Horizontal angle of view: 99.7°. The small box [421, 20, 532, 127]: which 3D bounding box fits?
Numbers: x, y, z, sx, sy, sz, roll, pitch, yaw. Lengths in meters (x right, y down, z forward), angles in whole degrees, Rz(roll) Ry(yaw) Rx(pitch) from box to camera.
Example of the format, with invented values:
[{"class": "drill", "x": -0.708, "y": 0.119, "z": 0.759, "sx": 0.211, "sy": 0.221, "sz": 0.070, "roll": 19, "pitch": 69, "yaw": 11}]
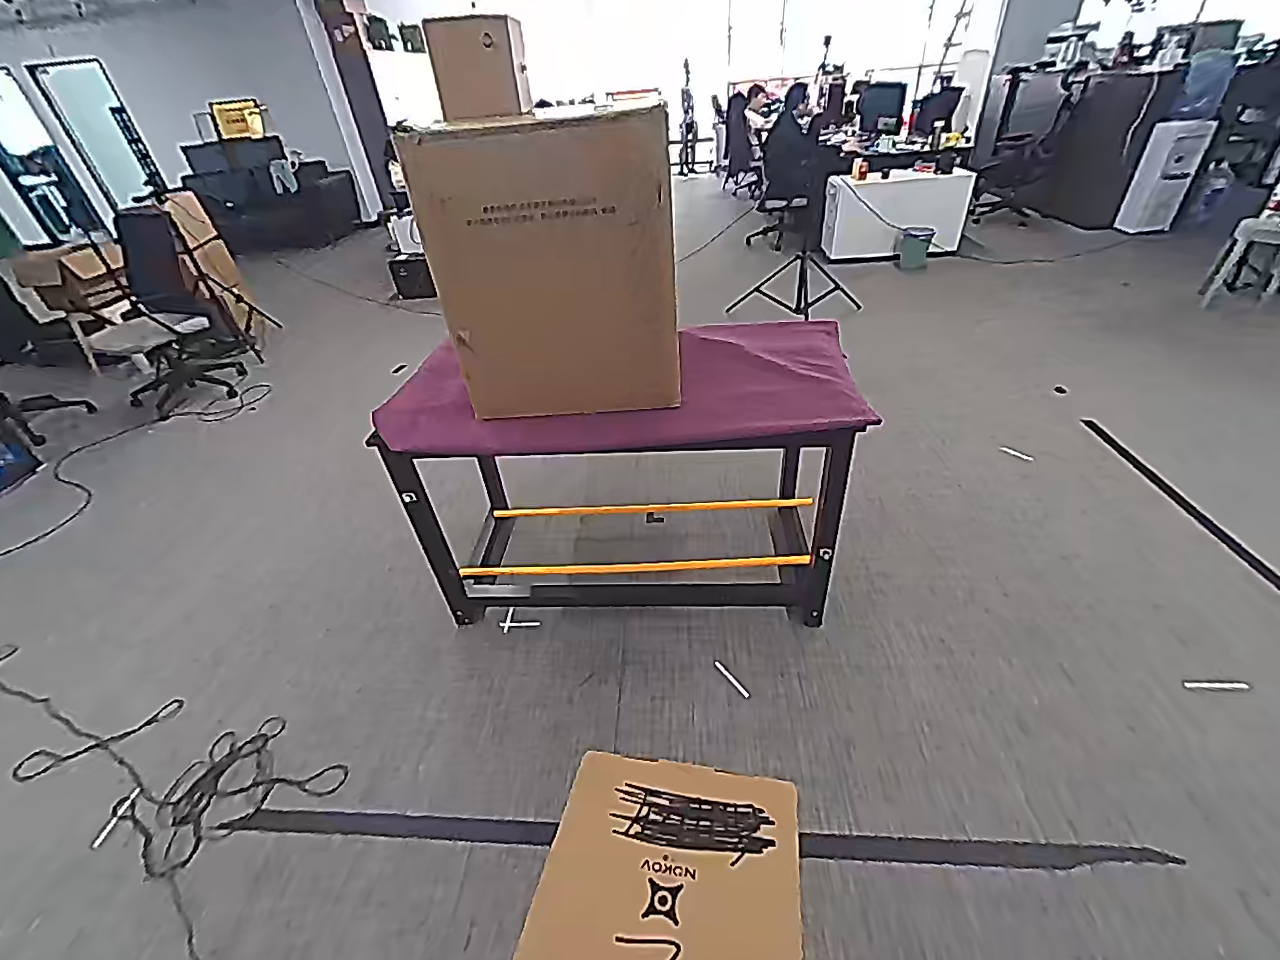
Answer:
[{"class": "small box", "x": -0.342, "y": -0.881, "z": 1.178, "sx": 0.179, "sy": 0.176, "sz": 0.168, "roll": -3, "pitch": 36, "yaw": 3}]
